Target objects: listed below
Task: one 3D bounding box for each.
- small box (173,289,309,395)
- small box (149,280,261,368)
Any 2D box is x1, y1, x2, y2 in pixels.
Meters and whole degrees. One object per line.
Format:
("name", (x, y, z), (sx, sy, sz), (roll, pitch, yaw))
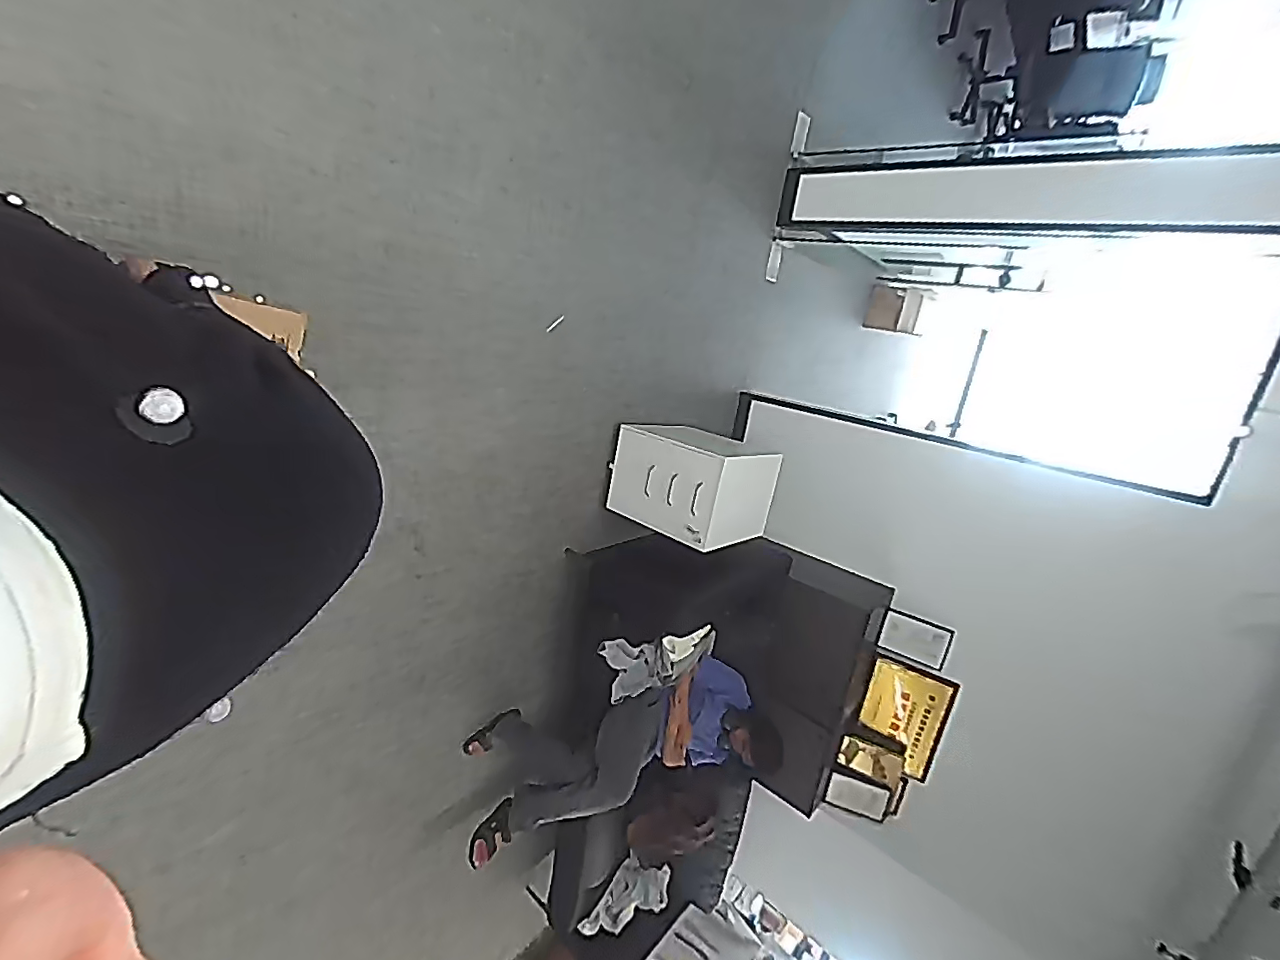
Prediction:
("small box", (-0.813, -0.281, 1.101), (0.179, 0.176, 0.168), (2, 106, -52))
("small box", (-0.943, -0.332, 1.190), (0.179, 0.176, 0.168), (-1, 108, -53))
